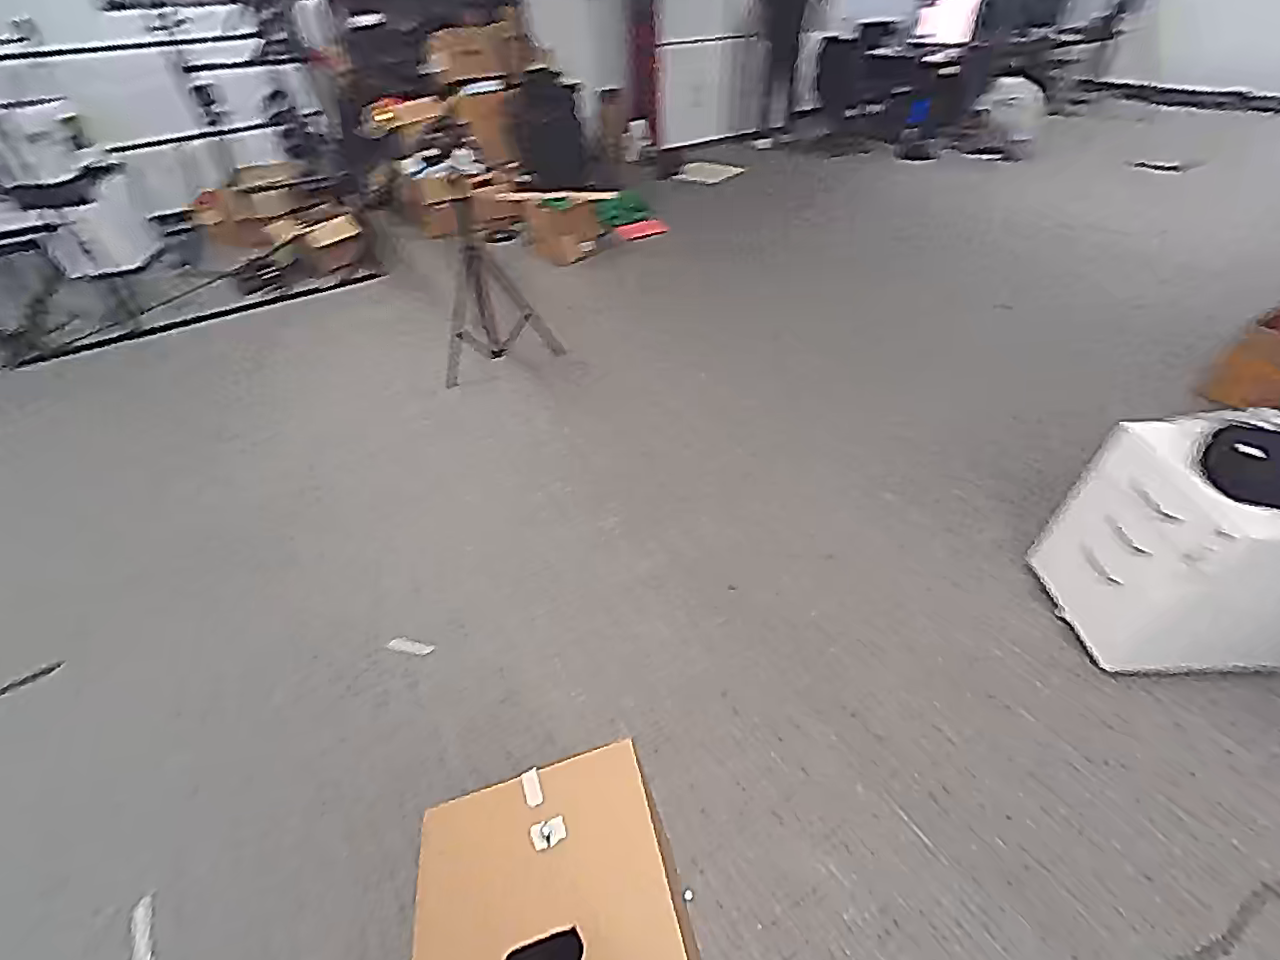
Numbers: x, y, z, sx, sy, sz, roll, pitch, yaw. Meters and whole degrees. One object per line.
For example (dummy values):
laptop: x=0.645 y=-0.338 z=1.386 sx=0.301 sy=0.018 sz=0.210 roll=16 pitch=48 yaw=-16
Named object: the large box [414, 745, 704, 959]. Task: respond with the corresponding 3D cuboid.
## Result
large box: x=-0.086 y=0.663 z=0.773 sx=0.320 sy=0.408 sz=0.320 roll=-18 pitch=35 yaw=-5
